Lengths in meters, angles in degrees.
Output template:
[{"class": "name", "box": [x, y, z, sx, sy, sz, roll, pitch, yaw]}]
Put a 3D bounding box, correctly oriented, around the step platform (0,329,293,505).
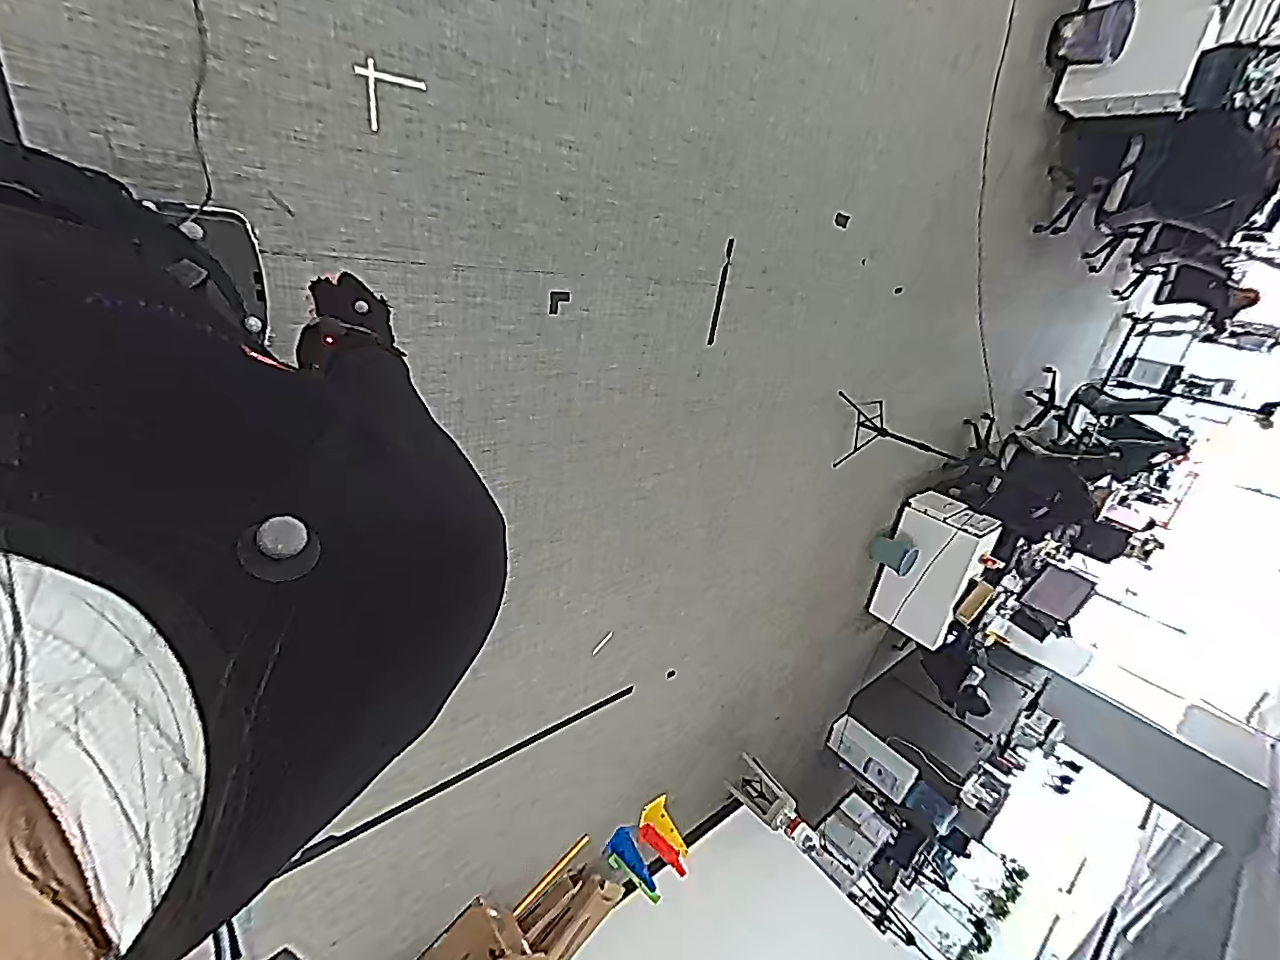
[{"class": "step platform", "box": [-1.086, -0.132, 1.059, 0.684, 0.204, 0.286, -12, 121, -36]}]
